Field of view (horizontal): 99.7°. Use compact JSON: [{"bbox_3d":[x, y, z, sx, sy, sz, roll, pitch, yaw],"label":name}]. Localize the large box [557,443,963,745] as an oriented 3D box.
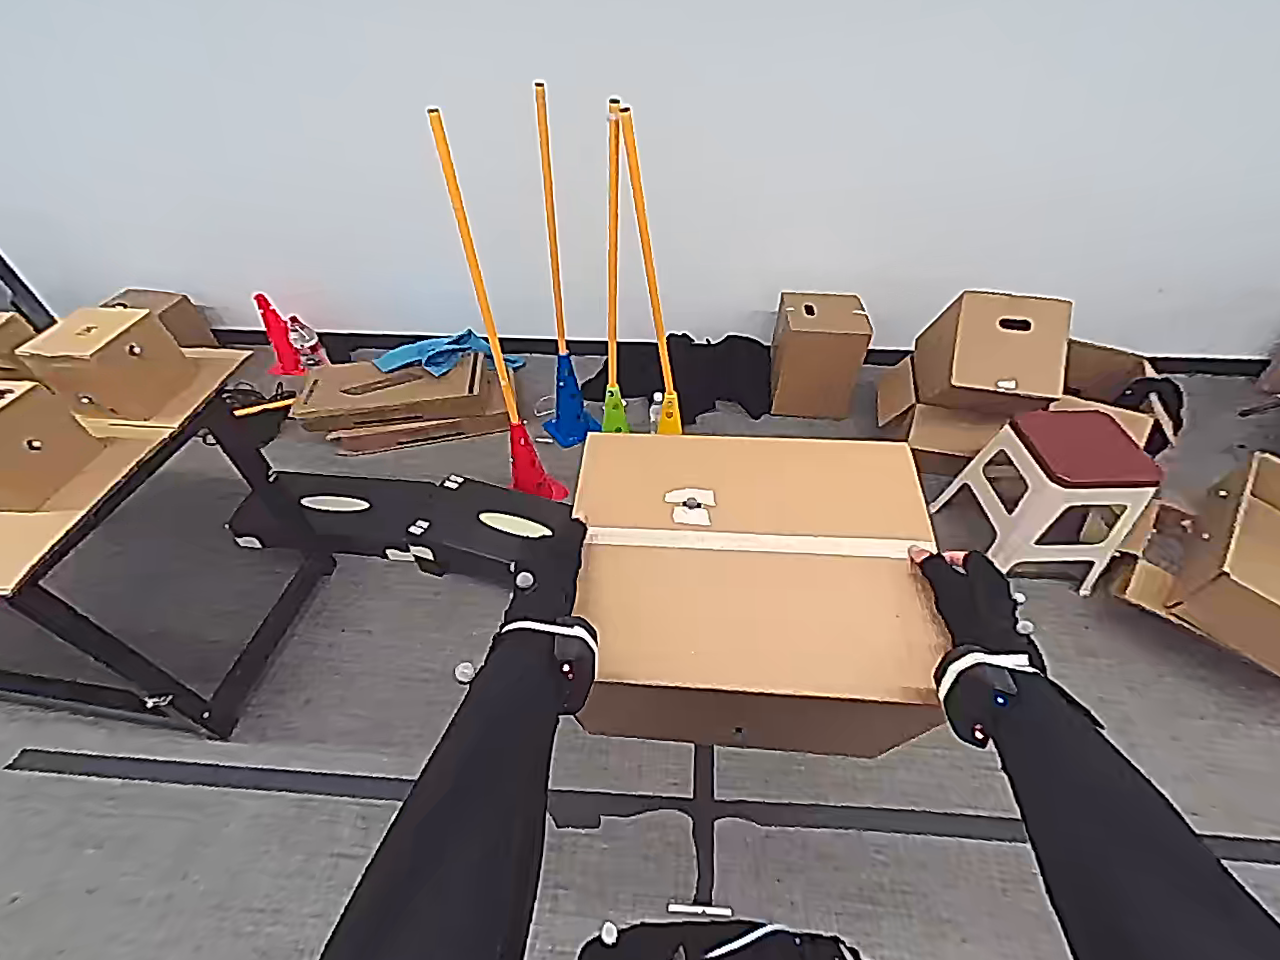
[{"bbox_3d":[0.132,0.164,0.736,0.408,0.320,0.320,2,55,5],"label":"large box"}]
